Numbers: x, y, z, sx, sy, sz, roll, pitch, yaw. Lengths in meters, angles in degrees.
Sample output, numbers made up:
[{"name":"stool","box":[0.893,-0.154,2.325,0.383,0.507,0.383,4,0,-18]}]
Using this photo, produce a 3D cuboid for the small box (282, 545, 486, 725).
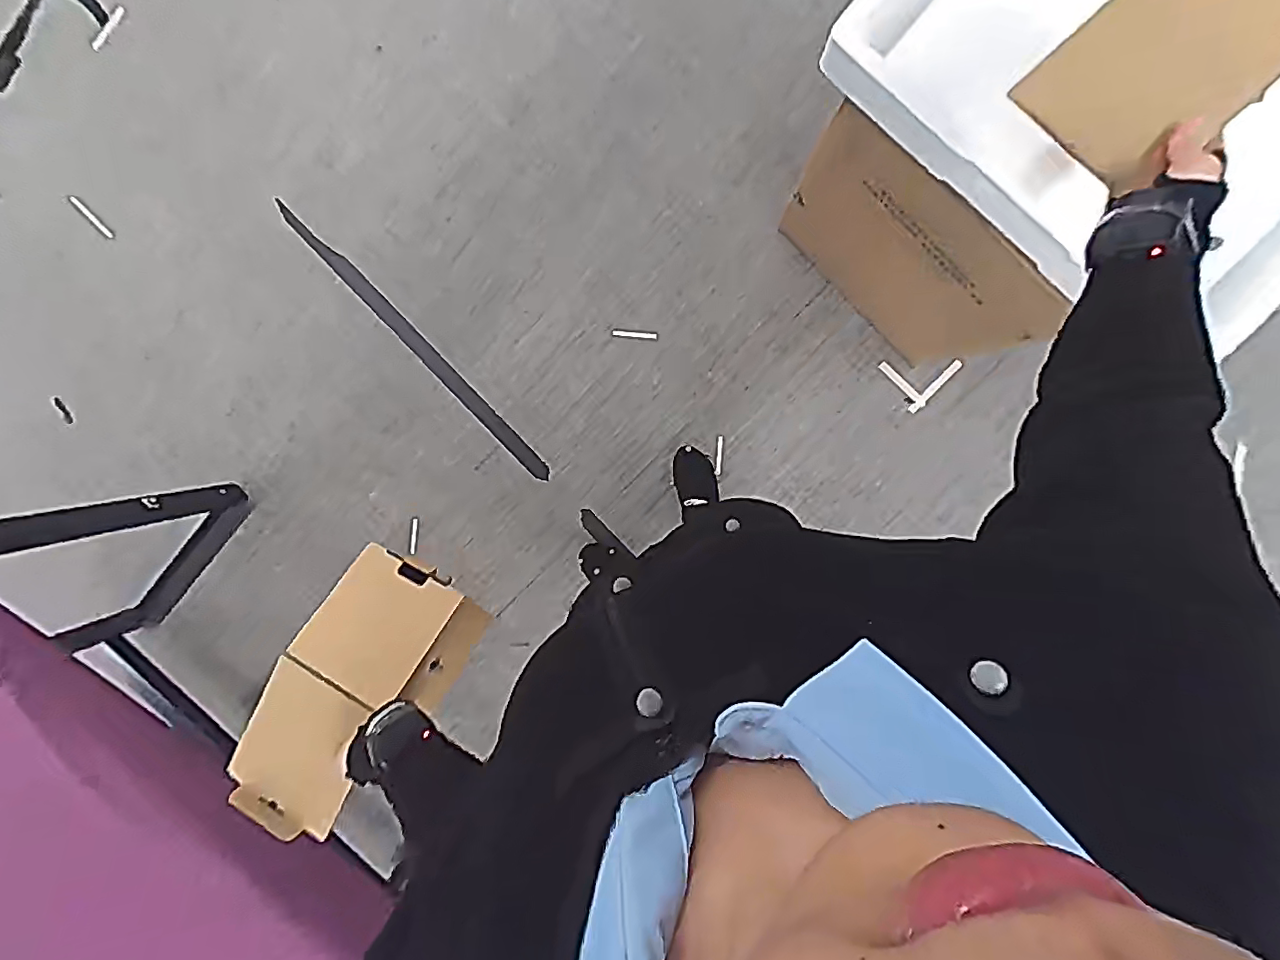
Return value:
[{"name":"small box","box":[-0.345,0.226,0.772,0.168,0.176,0.179,27,68,10]}]
